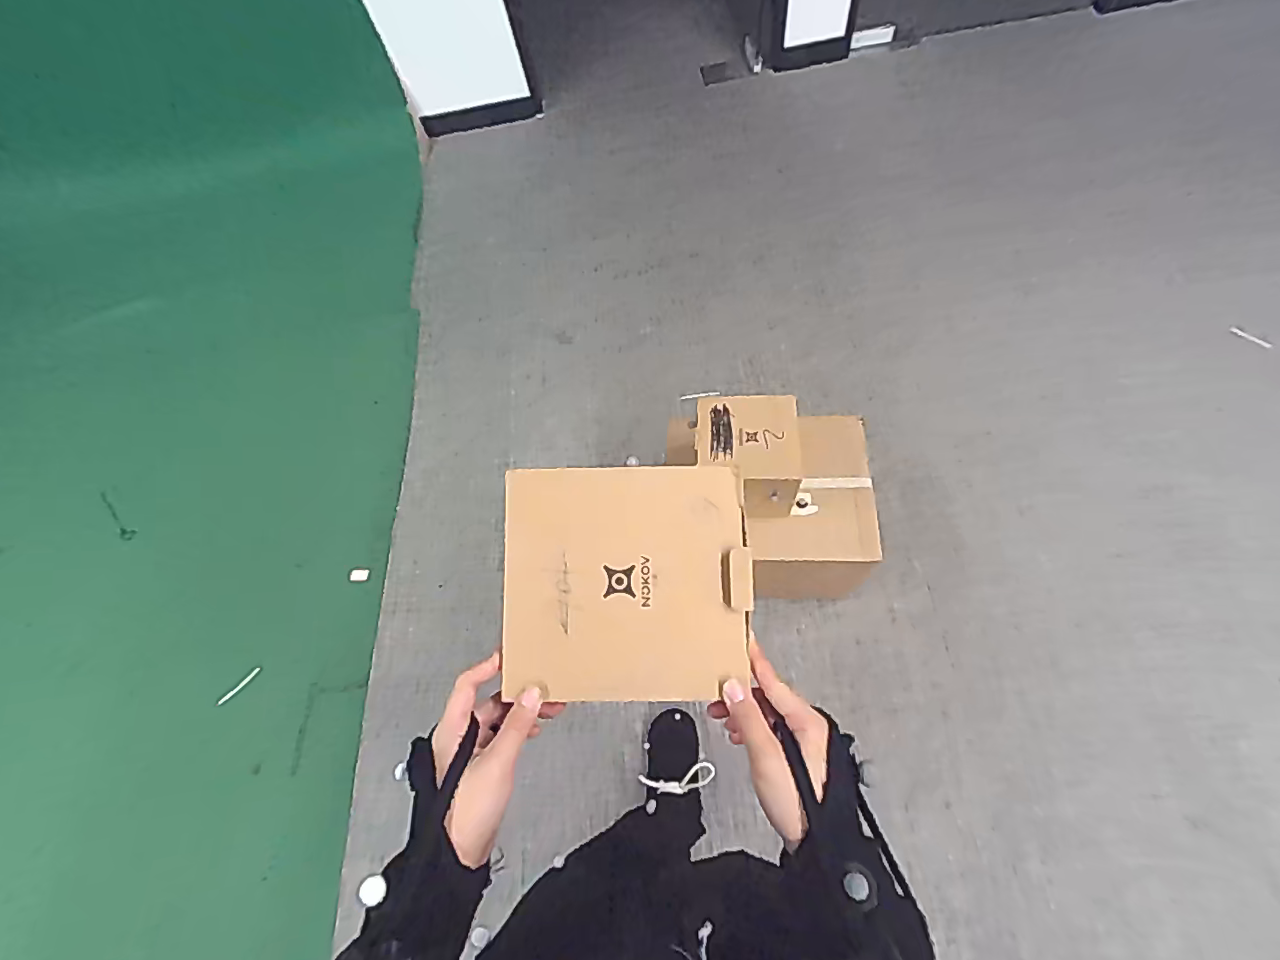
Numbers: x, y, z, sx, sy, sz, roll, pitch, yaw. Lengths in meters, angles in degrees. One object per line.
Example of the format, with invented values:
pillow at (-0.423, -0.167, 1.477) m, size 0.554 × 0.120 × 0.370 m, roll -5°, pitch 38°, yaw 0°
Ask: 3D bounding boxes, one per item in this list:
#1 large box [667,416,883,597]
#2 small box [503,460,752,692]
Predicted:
large box at (0.268, 0.075, 1.202) m, size 0.408 × 0.320 × 0.320 m, roll -1°, pitch 65°, yaw 7°
small box at (-0.008, 0.078, 0.466) m, size 0.179 × 0.176 × 0.168 m, roll -2°, pitch 81°, yaw 3°
